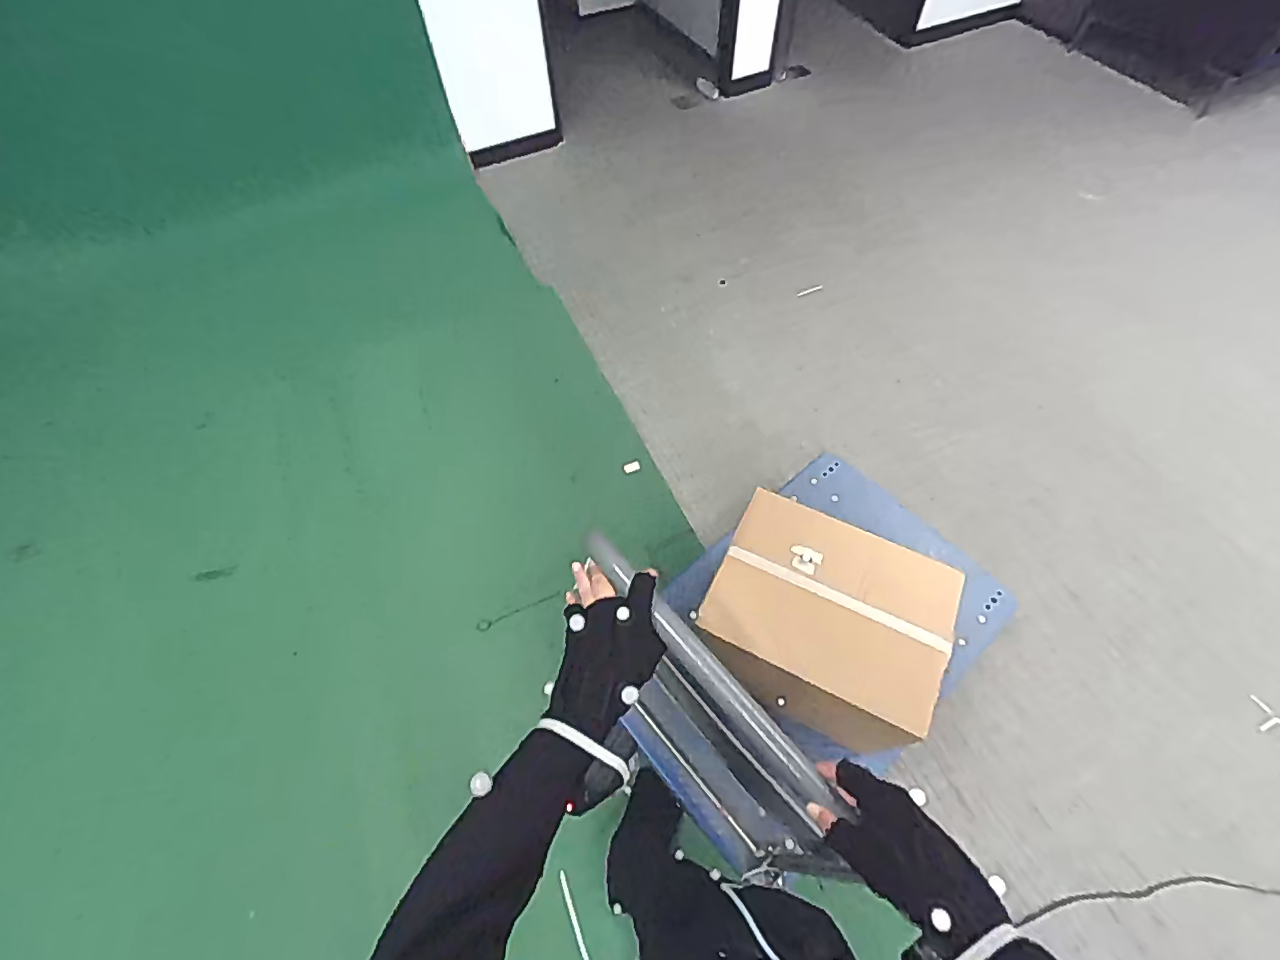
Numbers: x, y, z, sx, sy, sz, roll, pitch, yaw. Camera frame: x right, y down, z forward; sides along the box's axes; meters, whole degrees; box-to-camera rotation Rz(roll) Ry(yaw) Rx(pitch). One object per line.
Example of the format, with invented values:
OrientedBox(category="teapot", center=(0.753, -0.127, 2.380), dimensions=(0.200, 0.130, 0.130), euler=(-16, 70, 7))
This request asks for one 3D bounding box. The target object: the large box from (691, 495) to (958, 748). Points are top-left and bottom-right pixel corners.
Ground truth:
OrientedBox(category="large box", center=(0.347, 0.293, 1.098), dimensions=(0.408, 0.320, 0.320), euler=(23, 62, 16))
